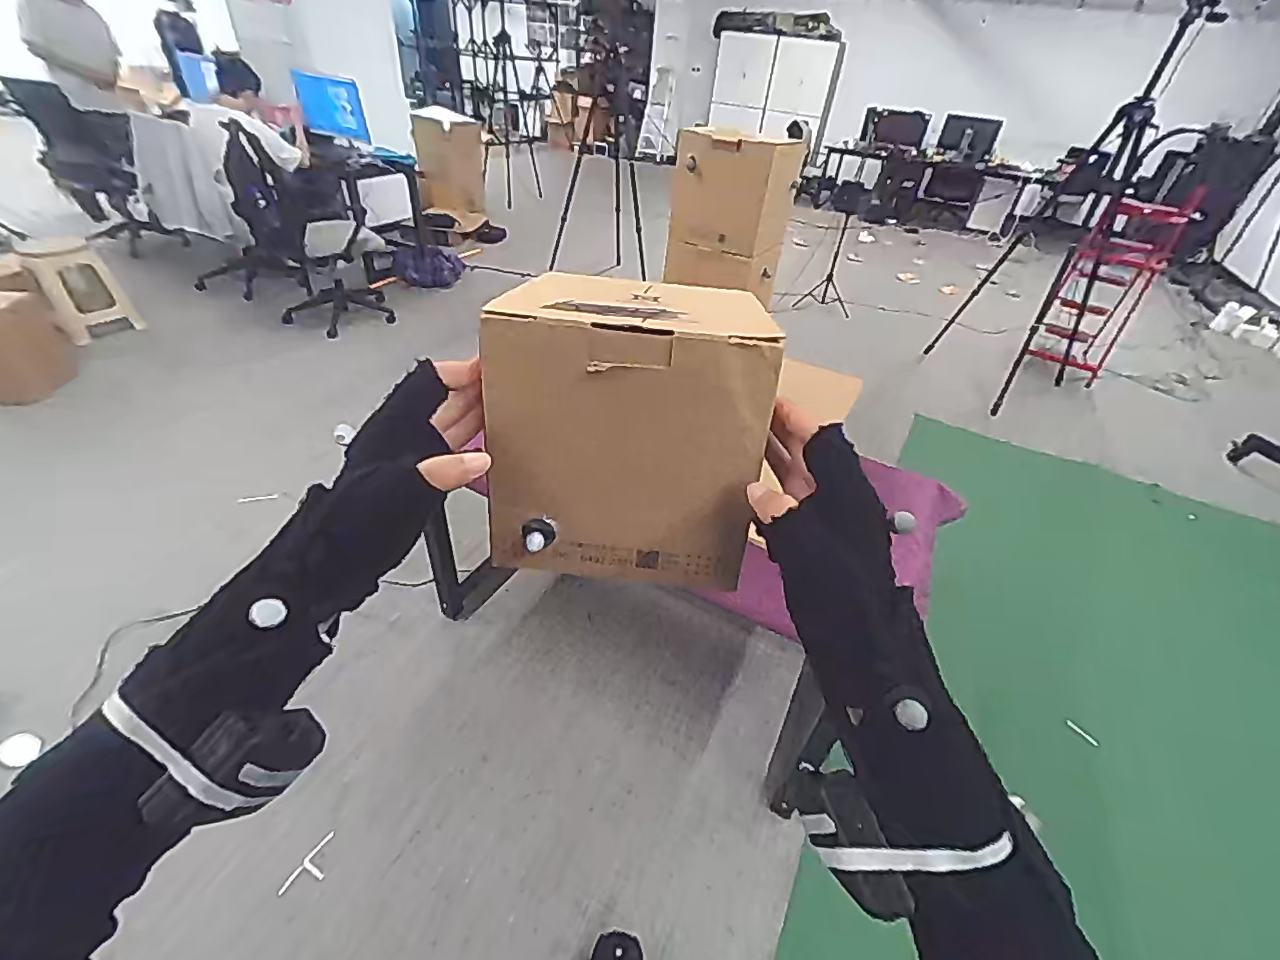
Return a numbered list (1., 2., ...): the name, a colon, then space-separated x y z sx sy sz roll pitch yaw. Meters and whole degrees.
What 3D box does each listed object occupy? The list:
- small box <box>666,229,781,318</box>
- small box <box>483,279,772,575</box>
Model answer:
1. small box: 0.154 -0.374 1.059 0.168 0.176 0.179 23 40 20
2. small box: -0.005 -0.048 0.408 0.168 0.176 0.179 7 26 2
